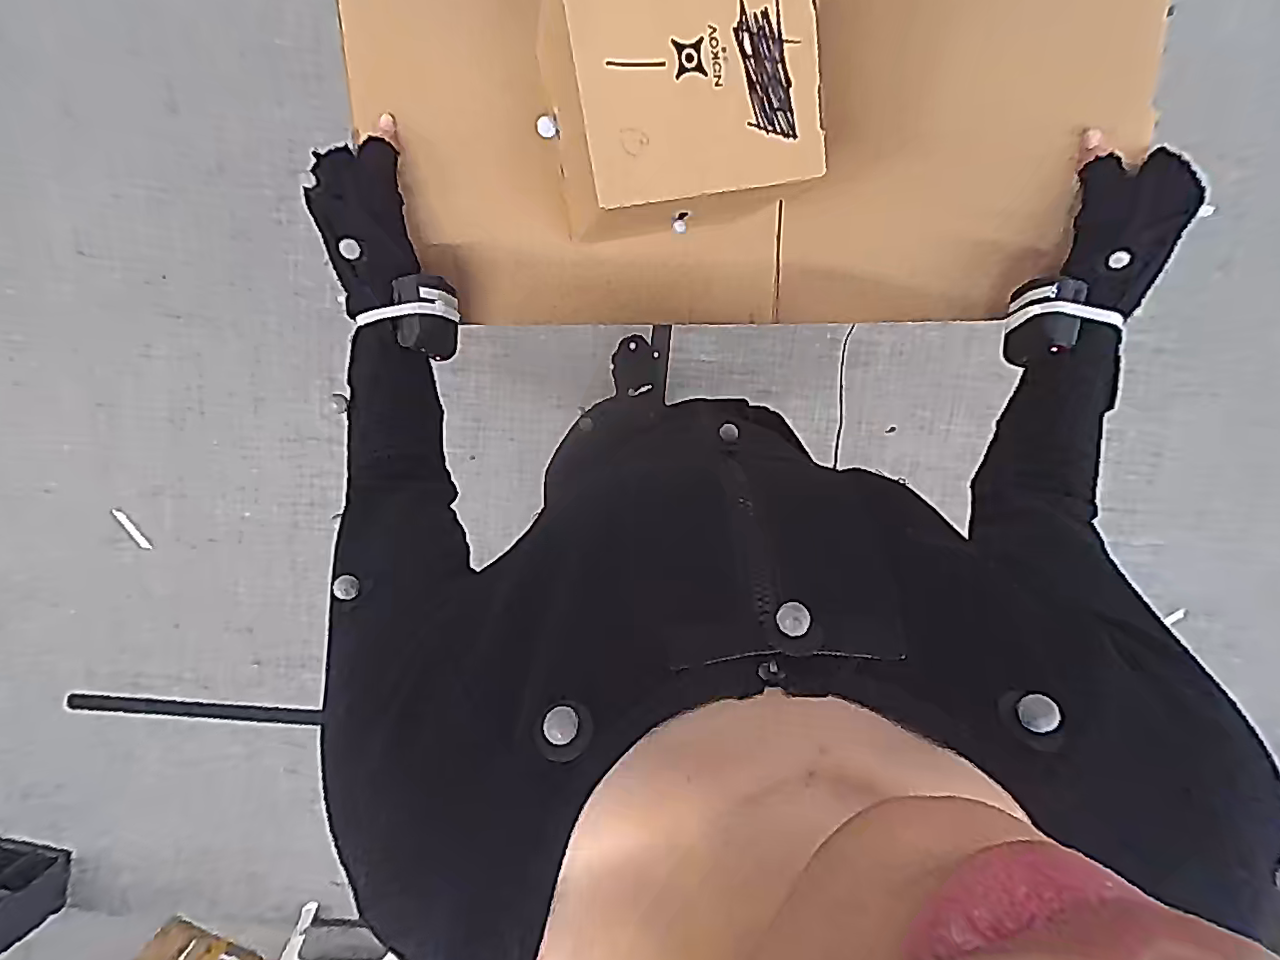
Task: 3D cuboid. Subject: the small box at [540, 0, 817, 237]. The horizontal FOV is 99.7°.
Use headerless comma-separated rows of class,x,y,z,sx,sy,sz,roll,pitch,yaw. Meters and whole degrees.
small box,0.022,-0.311,0.447,0.179,0.176,0.168,-13,107,-9
